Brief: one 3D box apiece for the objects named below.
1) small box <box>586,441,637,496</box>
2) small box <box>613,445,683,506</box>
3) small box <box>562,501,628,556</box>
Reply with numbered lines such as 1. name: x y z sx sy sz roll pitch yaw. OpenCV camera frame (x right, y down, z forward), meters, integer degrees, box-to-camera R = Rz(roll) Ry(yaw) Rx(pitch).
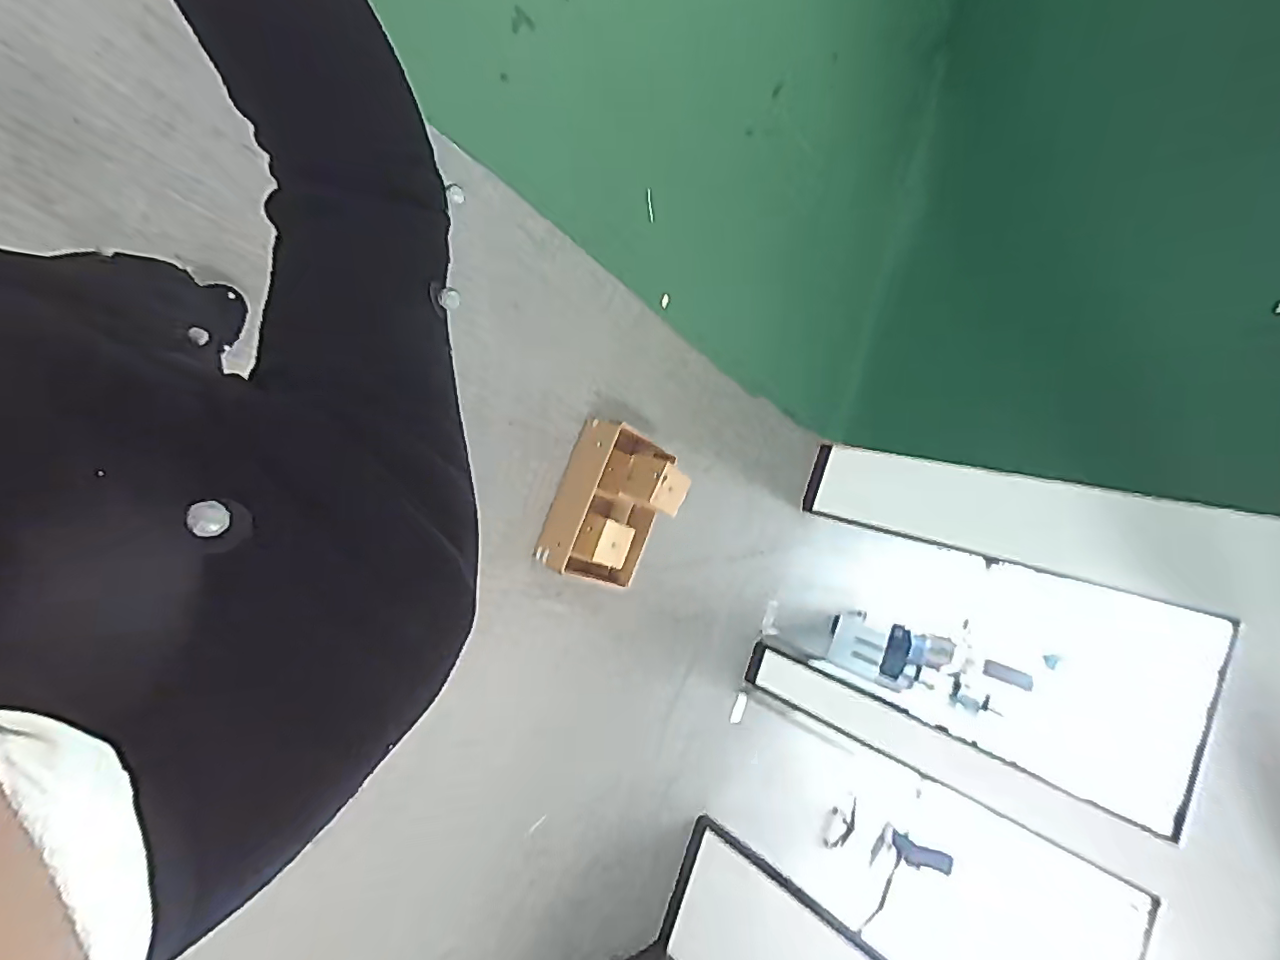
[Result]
1. small box: -0.089 -0.051 2.196 0.179 0.176 0.168 24 86 -48
2. small box: 0.031 -0.020 2.089 0.179 0.176 0.168 34 78 -48
3. small box: -0.184 0.193 2.176 0.179 0.176 0.168 25 83 -48
